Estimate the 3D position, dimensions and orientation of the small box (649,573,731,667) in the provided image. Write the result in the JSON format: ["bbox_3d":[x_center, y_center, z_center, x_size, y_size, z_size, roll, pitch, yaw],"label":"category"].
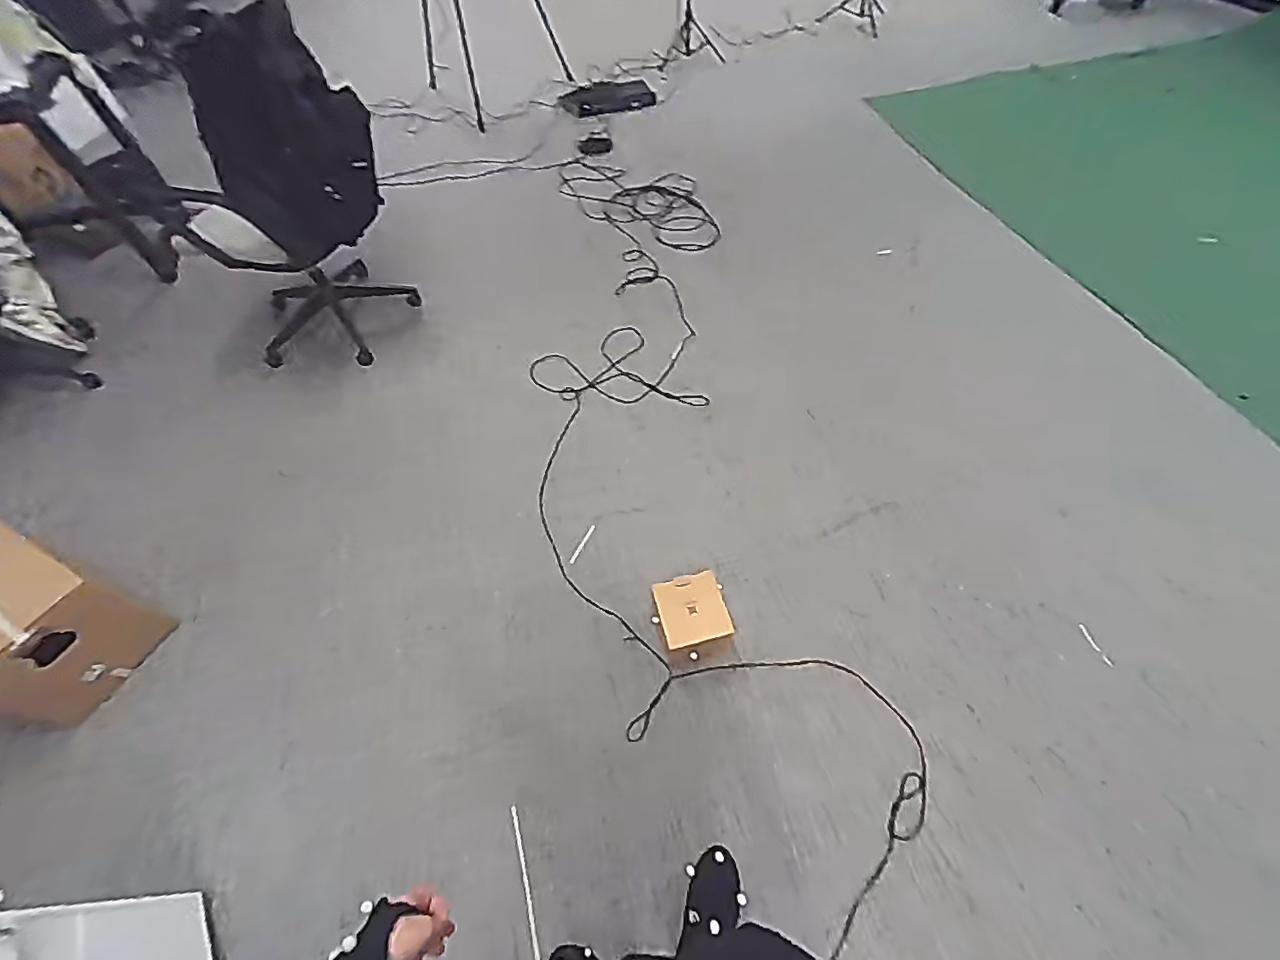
[{"bbox_3d":[0.127,0.371,1.407,0.168,0.176,0.179,-13,55,-6],"label":"small box"}]
